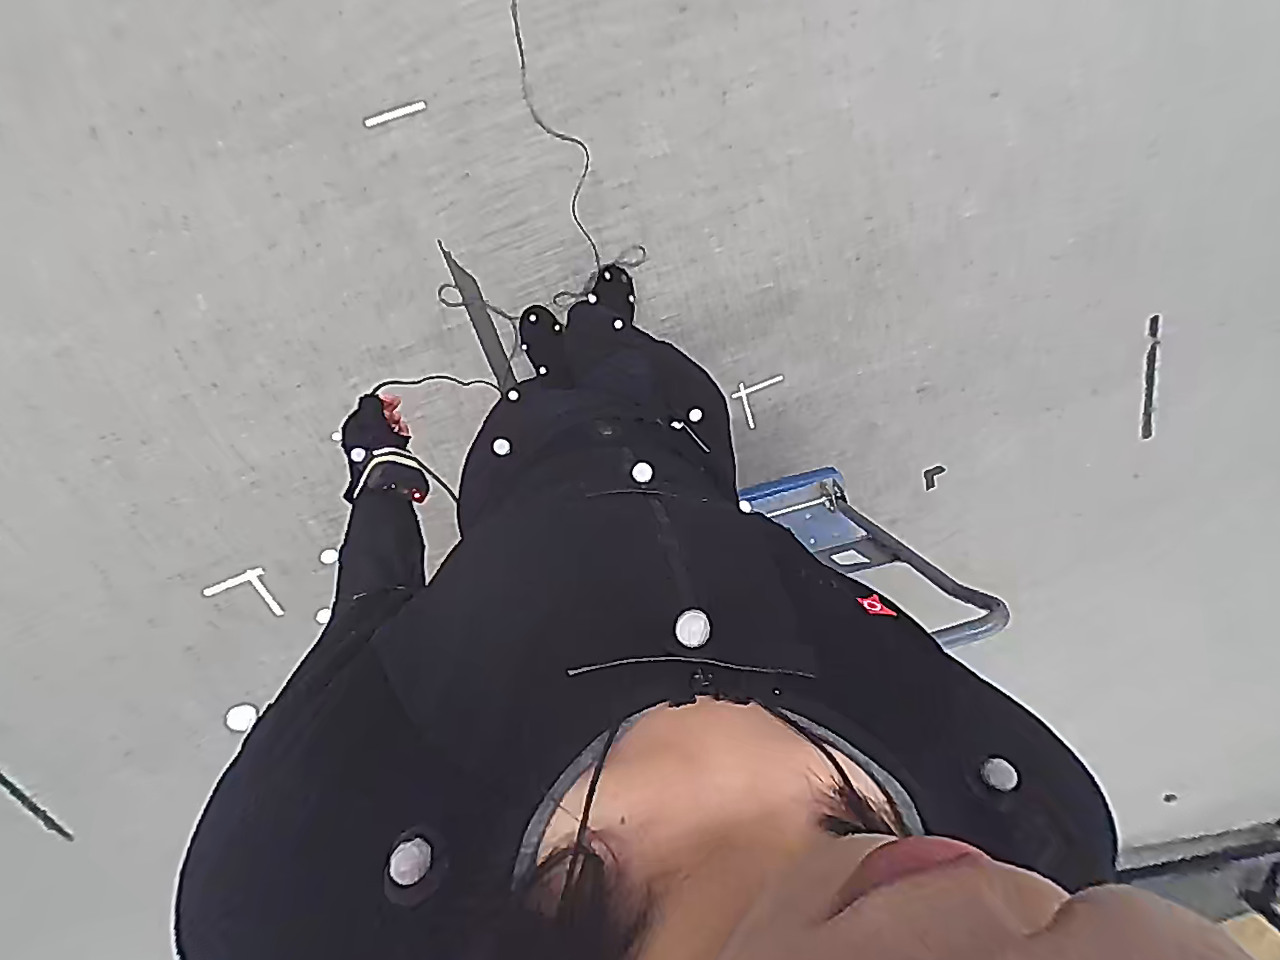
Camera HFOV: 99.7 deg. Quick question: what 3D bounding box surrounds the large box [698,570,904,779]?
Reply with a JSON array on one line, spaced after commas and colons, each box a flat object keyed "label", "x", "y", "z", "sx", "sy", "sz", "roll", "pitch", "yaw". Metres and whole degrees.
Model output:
[{"label": "large box", "x": 0.416, "y": 0.505, "z": 1.455, "sx": 0.408, "sy": 0.320, "sz": 0.320, "roll": -22, "pitch": 110, "yaw": 1}]
